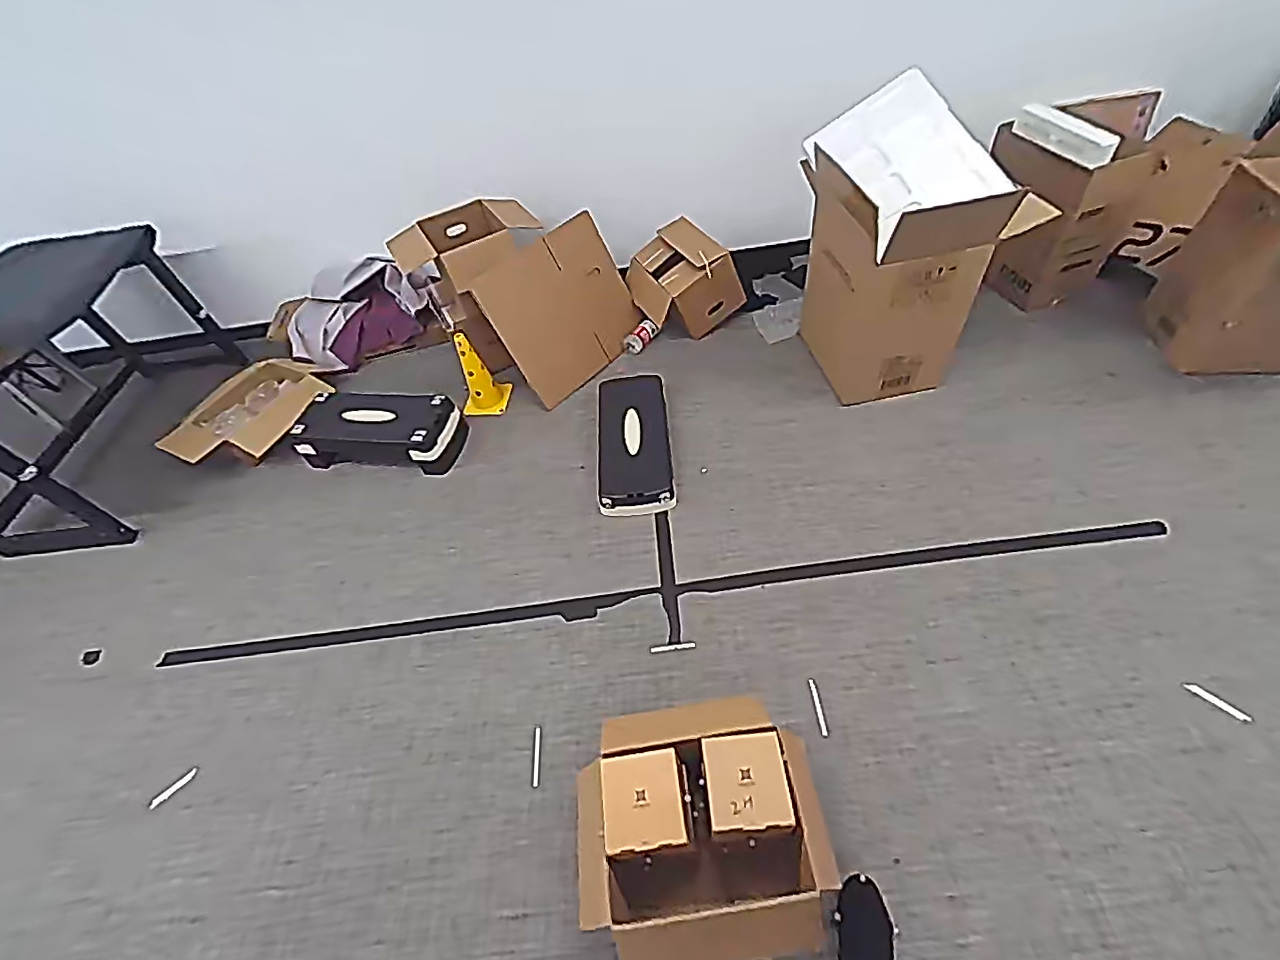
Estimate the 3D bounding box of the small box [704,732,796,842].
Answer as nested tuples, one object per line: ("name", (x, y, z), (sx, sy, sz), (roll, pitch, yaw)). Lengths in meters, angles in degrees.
("small box", (0.229, 0.665, 1.169), (0.168, 0.176, 0.179), (-7, 51, 4))
